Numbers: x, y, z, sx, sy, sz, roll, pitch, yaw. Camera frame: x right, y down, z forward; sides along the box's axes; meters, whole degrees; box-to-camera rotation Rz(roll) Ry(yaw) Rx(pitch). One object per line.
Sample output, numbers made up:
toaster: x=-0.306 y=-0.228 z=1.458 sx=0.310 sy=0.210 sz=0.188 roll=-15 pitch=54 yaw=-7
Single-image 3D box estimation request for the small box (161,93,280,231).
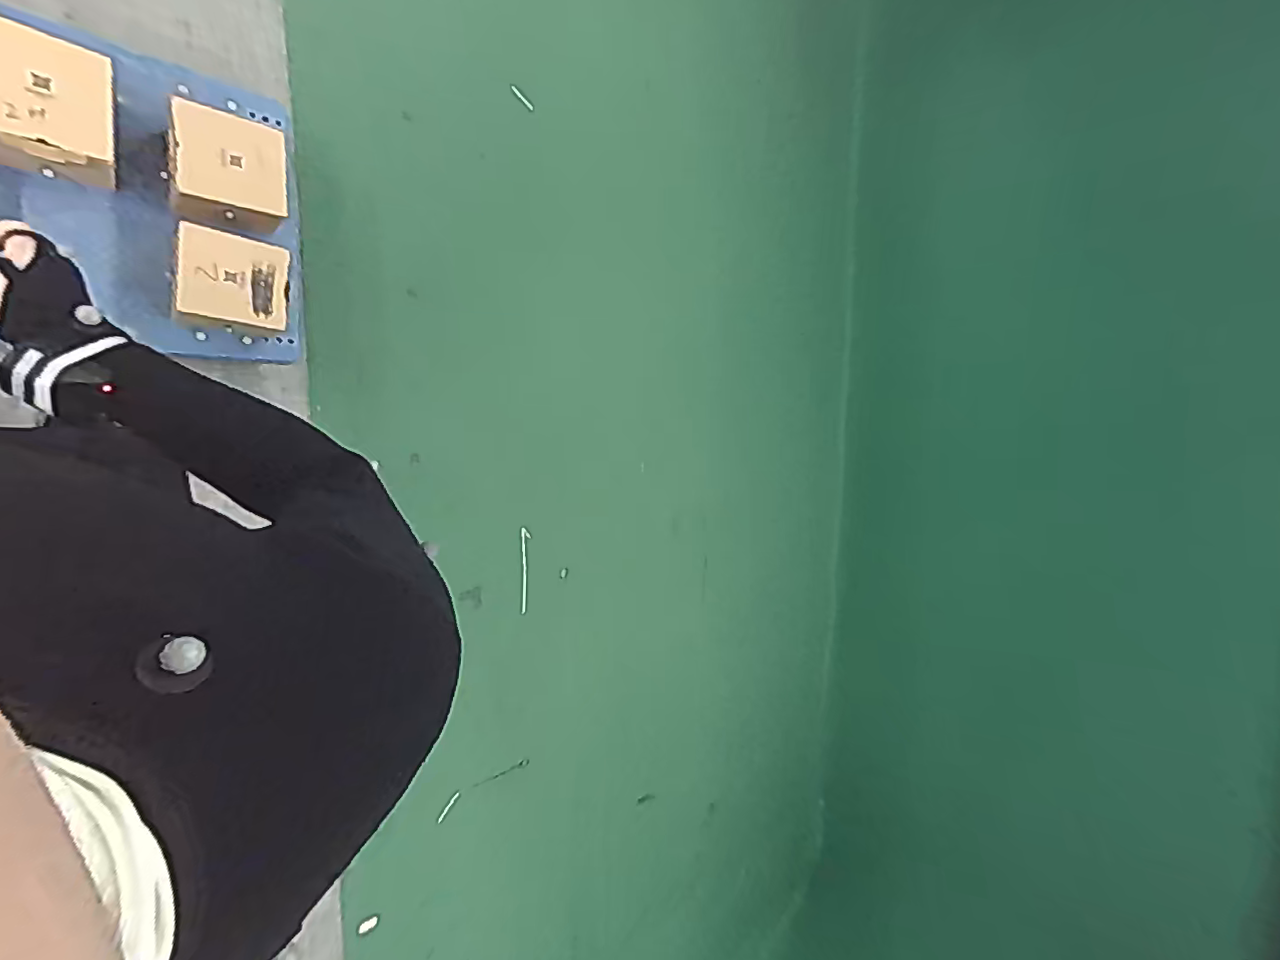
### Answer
small box: x=-0.839 y=-0.617 z=1.079 sx=0.179 sy=0.176 sz=0.168 roll=-4 pitch=98 yaw=-44
